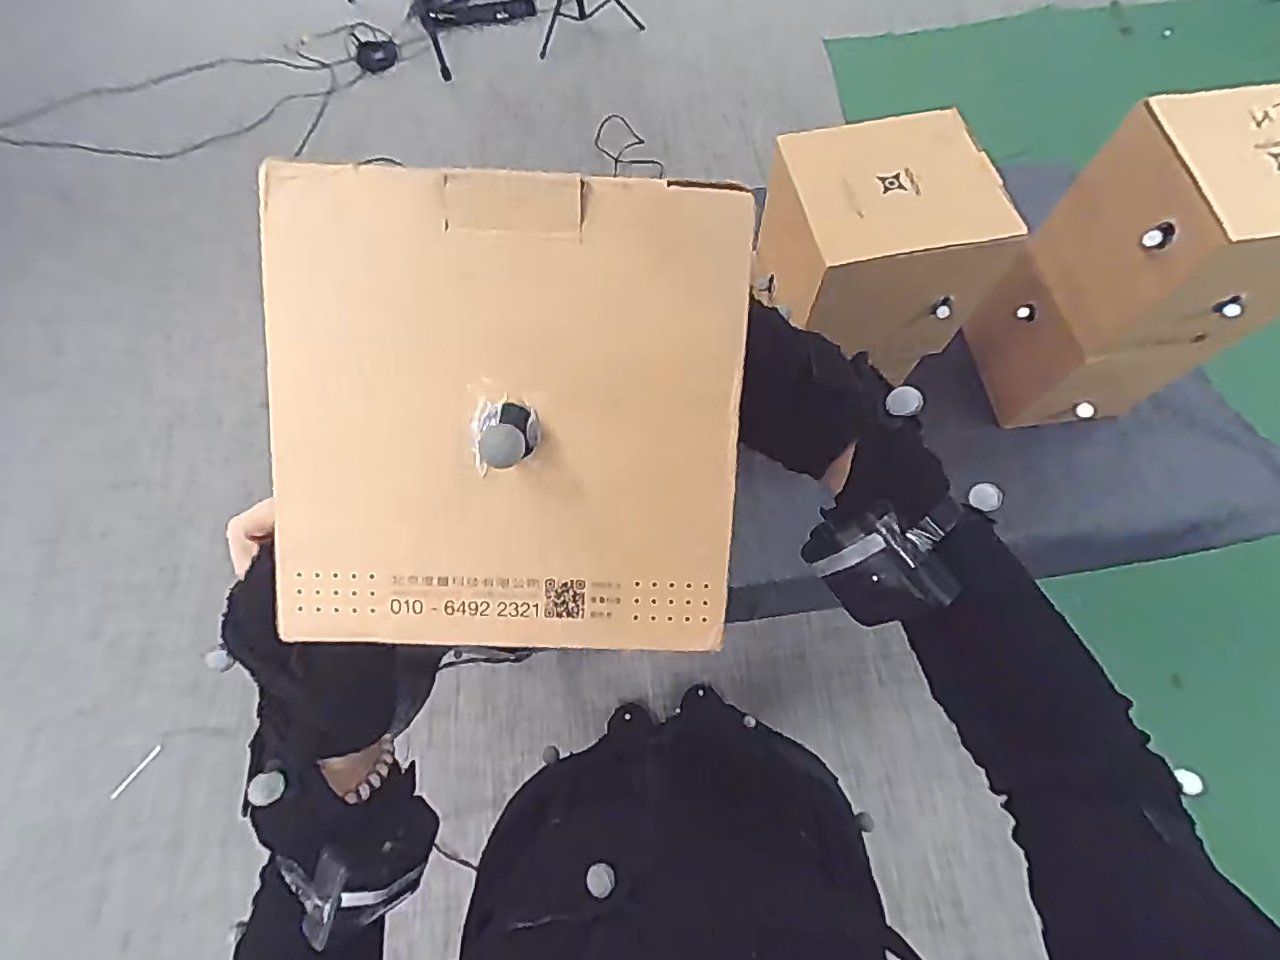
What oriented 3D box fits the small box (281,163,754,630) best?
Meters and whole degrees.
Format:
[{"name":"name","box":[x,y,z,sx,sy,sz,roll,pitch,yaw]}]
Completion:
[{"name":"small box","box":[-0.045,-0.034,0.278,0.168,0.179,0.176,3,98,-3]}]

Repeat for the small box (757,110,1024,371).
[{"name":"small box","box":[0.233,-0.234,0.558,0.179,0.176,0.168,-9,67,0]}]

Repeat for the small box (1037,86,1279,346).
[{"name":"small box","box":[0.554,-0.250,0.543,0.168,0.176,0.179,-5,68,1]}]
